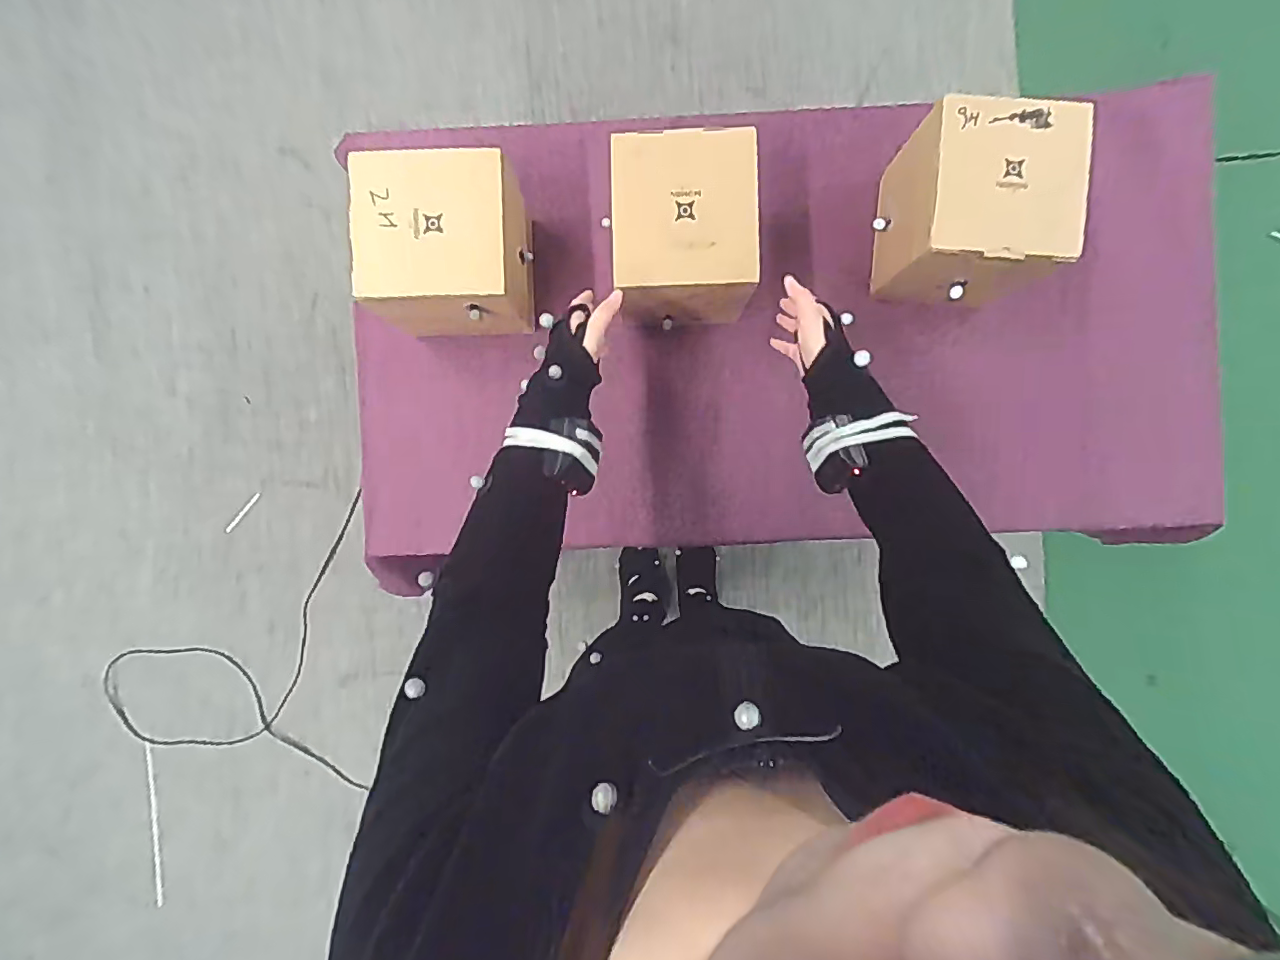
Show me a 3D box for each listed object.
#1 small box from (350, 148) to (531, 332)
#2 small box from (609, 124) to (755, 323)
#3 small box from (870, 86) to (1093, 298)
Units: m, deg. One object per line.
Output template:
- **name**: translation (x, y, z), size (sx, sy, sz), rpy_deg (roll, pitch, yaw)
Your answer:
- **small box**: translation (-0.239, -0.292, 0.689), size (0.179, 0.176, 0.168), rpy_deg (-1, 90, 2)
- **small box**: translation (0.049, -0.309, 0.683), size (0.168, 0.176, 0.179), rpy_deg (-1, 91, 2)
- **small box**: translation (0.403, -0.338, 0.670), size (0.168, 0.176, 0.179), rpy_deg (5, 92, 1)
